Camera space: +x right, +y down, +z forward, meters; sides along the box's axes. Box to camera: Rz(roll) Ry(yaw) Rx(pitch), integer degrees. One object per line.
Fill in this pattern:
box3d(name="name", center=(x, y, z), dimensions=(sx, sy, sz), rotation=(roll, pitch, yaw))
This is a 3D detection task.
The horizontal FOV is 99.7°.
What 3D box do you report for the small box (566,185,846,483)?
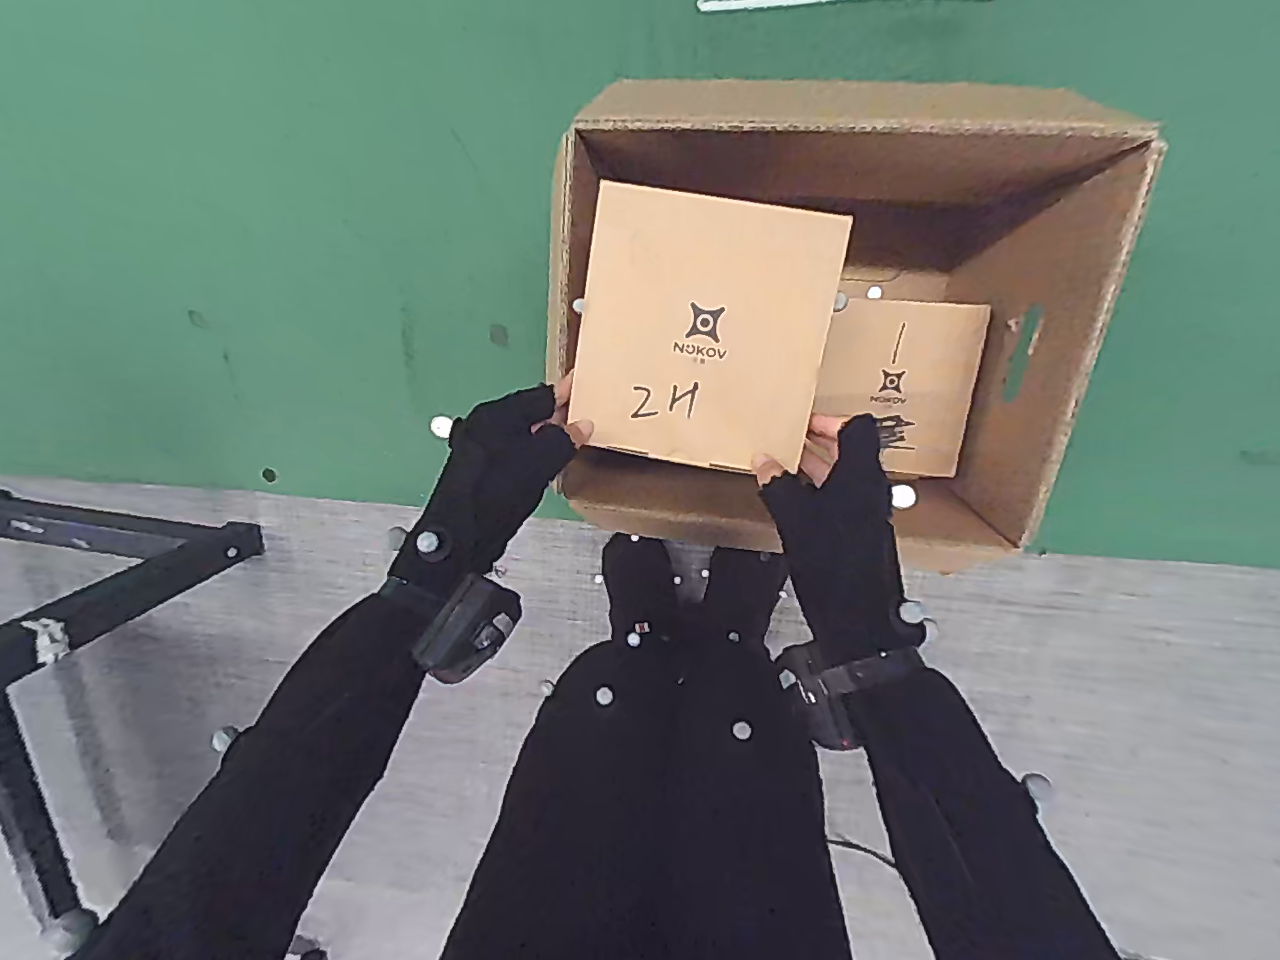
box3d(name="small box", center=(0.046, -0.110, 0.446), dimensions=(0.168, 0.176, 0.179), rotation=(10, 101, 3))
